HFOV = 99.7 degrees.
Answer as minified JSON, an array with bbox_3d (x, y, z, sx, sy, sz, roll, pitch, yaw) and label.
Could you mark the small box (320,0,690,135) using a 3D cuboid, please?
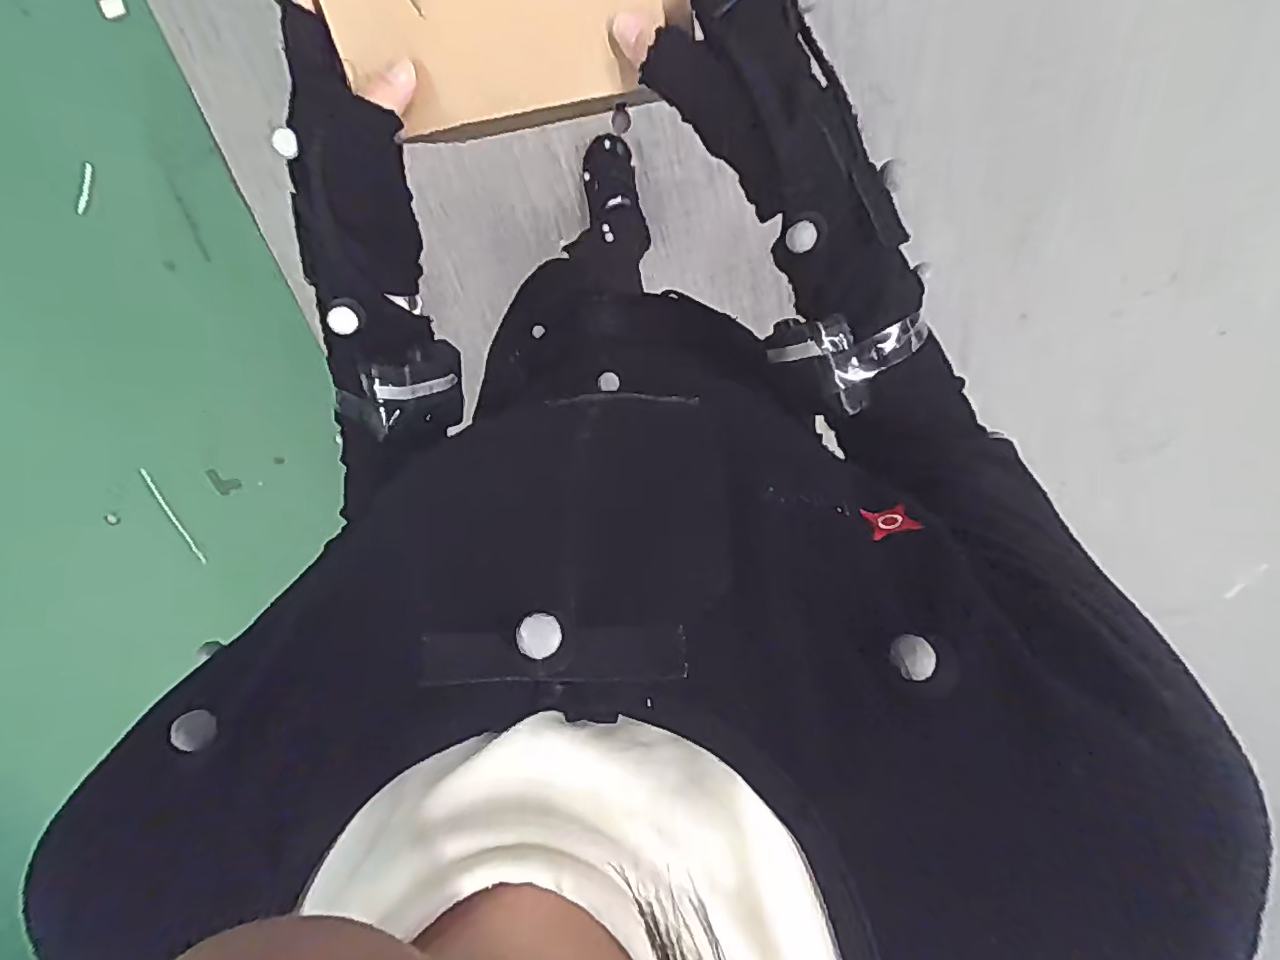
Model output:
[{"bbox_3d":[-0.074,-0.308,0.305,0.179,0.176,0.168,-9,121,7],"label":"small box"}]
